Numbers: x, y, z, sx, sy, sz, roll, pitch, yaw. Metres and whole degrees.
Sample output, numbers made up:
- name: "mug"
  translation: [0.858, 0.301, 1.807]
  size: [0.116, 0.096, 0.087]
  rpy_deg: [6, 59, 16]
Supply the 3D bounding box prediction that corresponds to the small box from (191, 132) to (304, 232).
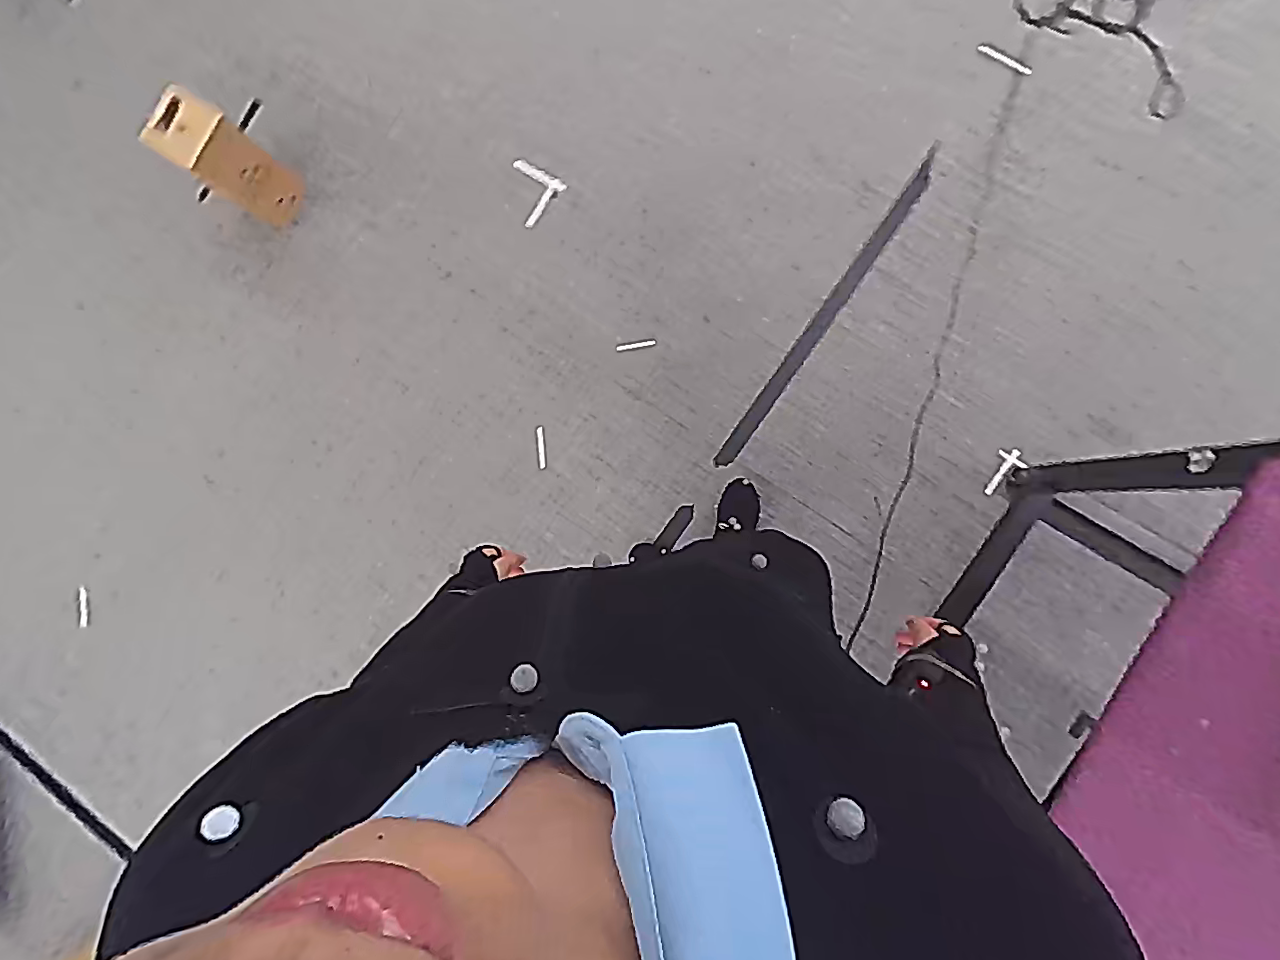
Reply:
- name: "small box"
  translation: [-1.154, -0.873, 1.601]
  size: [0.179, 0.176, 0.168]
  rpy_deg: [28, 92, 7]
